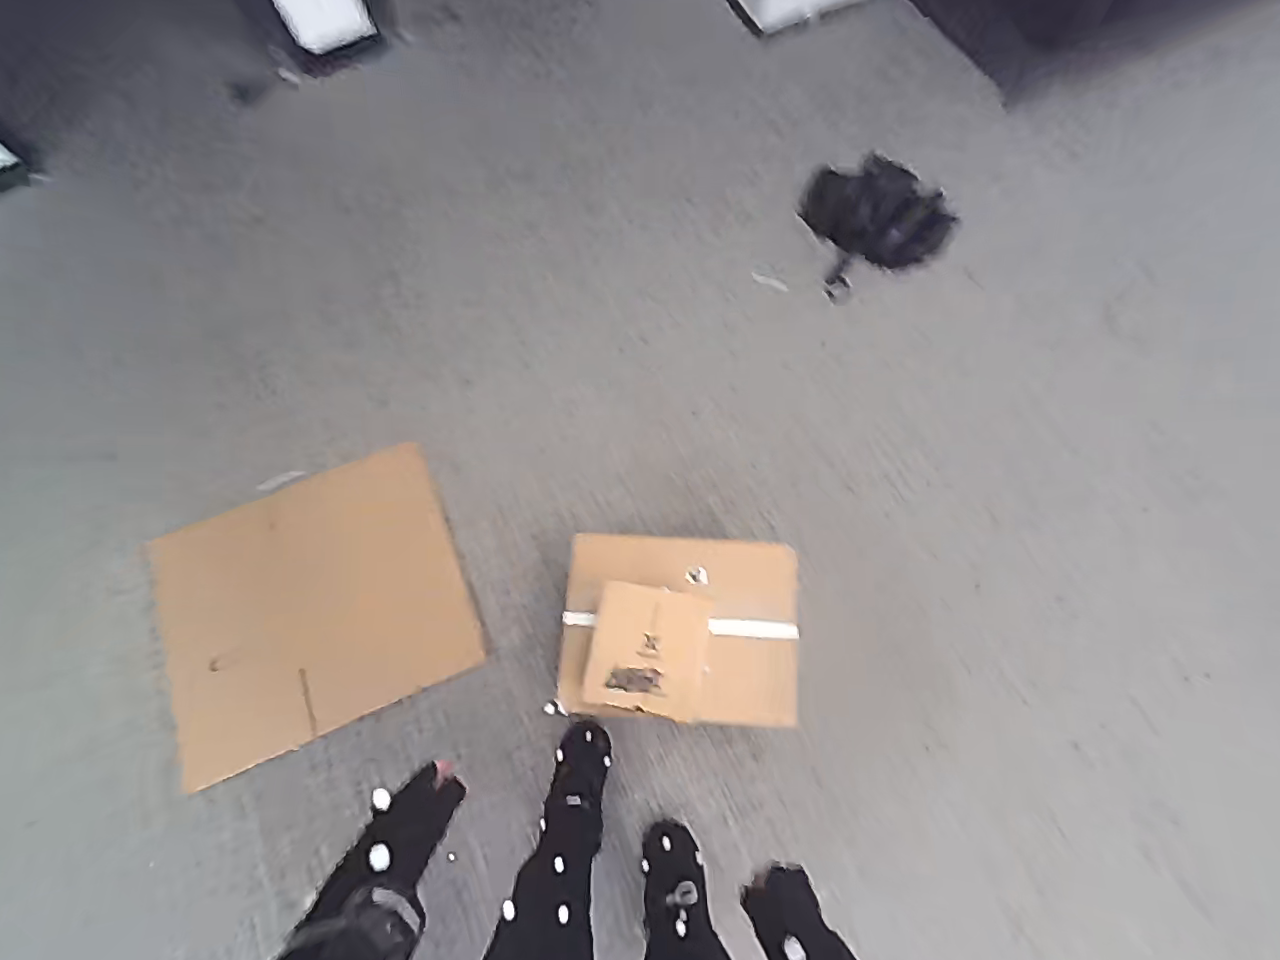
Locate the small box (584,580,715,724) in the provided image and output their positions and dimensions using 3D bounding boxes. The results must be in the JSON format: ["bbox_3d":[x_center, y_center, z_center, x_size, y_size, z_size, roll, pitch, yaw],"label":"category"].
[{"bbox_3d":[0.020,0.270,0.857,0.168,0.176,0.179,10,71,6],"label":"small box"}]
